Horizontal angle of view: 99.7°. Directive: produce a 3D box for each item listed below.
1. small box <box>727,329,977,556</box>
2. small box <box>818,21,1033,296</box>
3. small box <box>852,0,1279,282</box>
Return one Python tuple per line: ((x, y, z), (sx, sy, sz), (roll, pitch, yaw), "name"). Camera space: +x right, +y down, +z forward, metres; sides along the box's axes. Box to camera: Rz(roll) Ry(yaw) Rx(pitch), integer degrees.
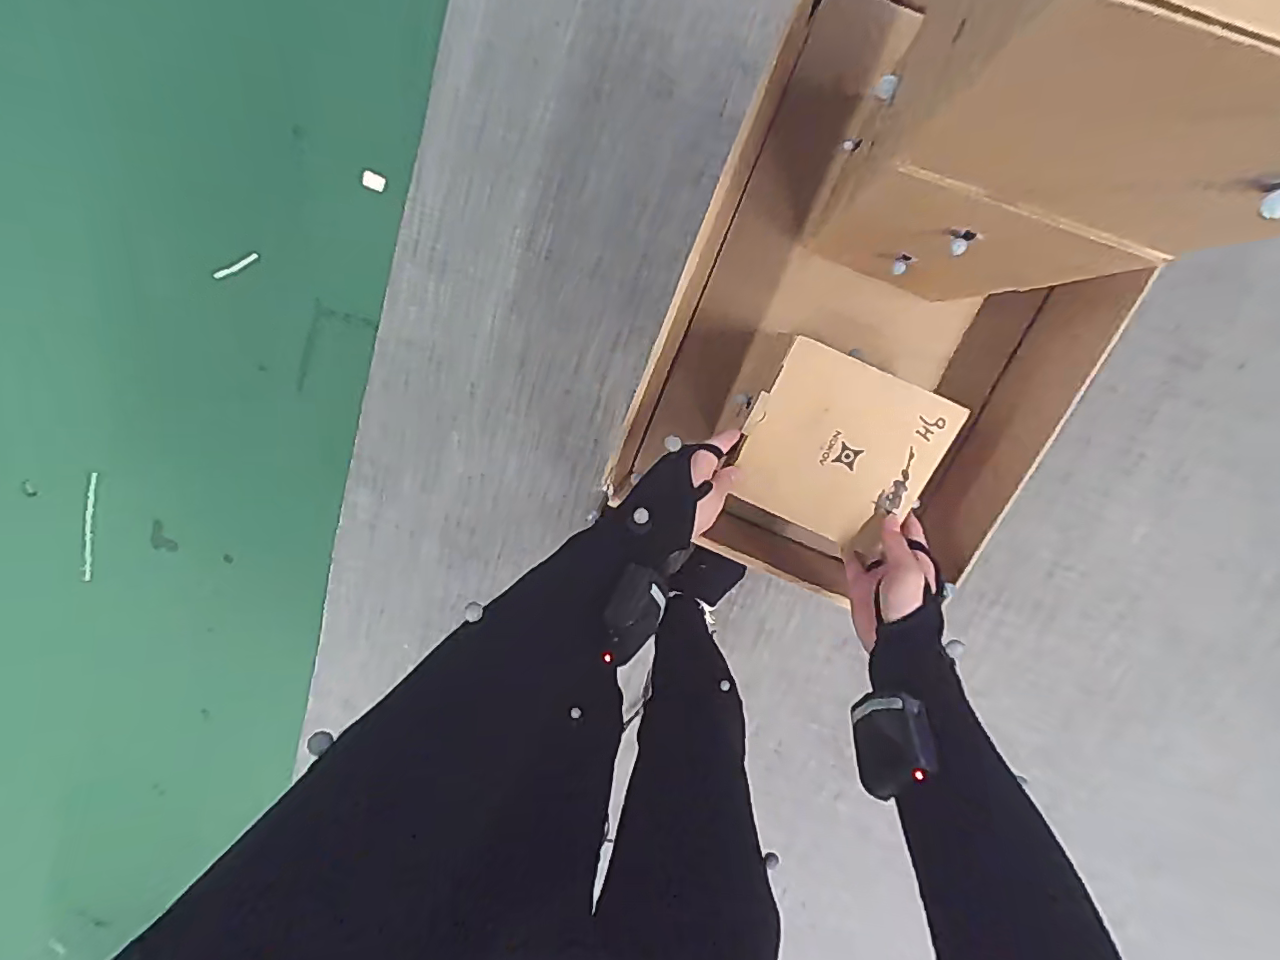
((0.205, -0.049, 0.586), (0.179, 0.176, 0.168), (25, 106, 1), "small box")
((0.301, -0.291, 0.529), (0.179, 0.176, 0.168), (23, 106, 2), "small box")
((0.277, -0.248, 0.372), (0.179, 0.176, 0.168), (22, 106, 3), "small box")
